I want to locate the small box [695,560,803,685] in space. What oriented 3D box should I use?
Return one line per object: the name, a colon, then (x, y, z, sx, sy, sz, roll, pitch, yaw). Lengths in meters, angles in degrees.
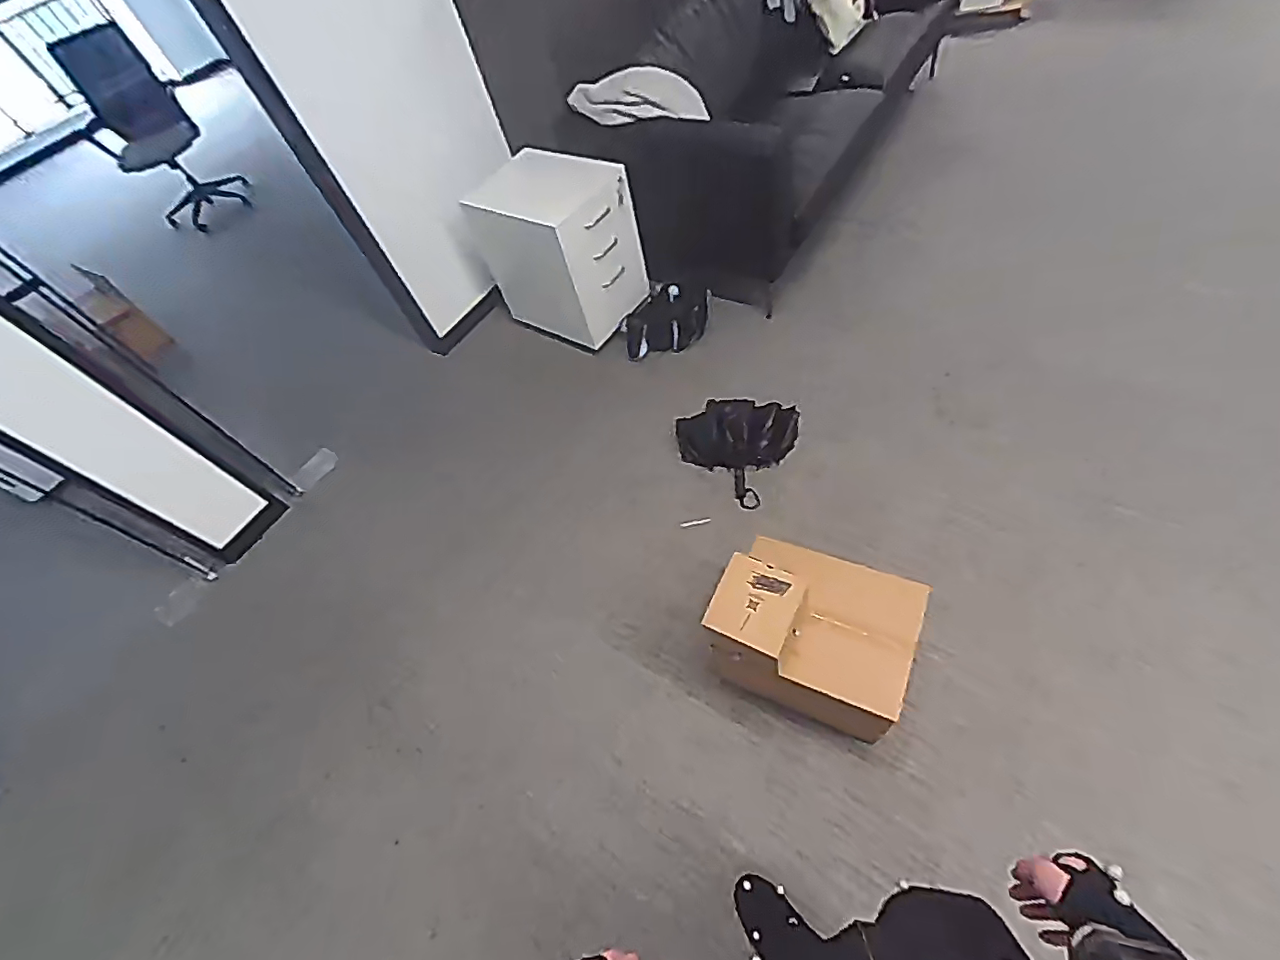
small box: (0.232, 0.304, 1.146, 0.168, 0.176, 0.179, 20, 65, 25)
